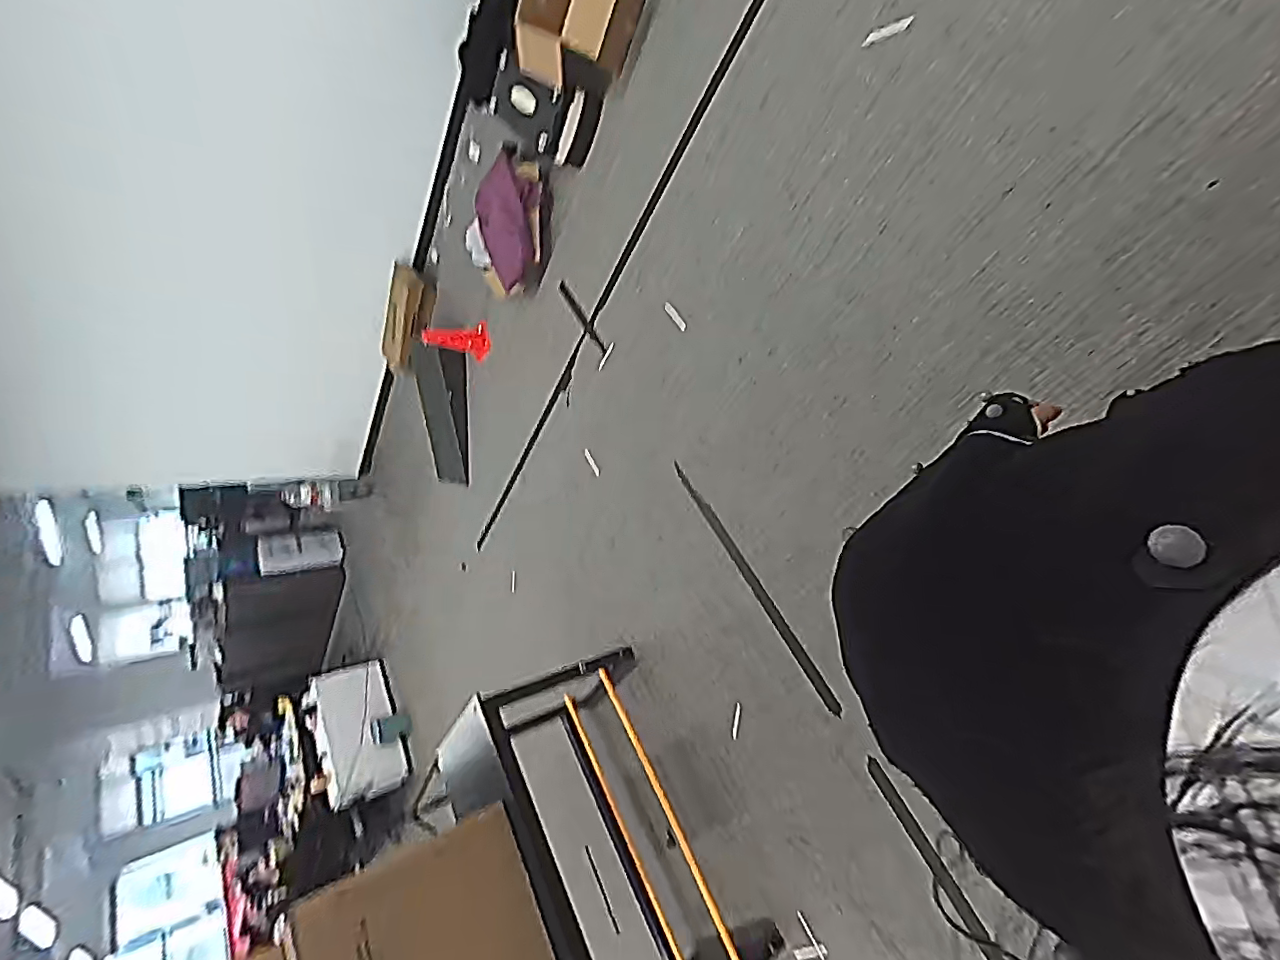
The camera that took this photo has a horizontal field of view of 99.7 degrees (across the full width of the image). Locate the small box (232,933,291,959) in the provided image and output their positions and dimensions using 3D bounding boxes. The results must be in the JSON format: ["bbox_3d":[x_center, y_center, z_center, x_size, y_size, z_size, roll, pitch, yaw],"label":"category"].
[{"bbox_3d":[-1.041,1.373,1.456,0.168,0.176,0.179,56,132,28],"label":"small box"}]
